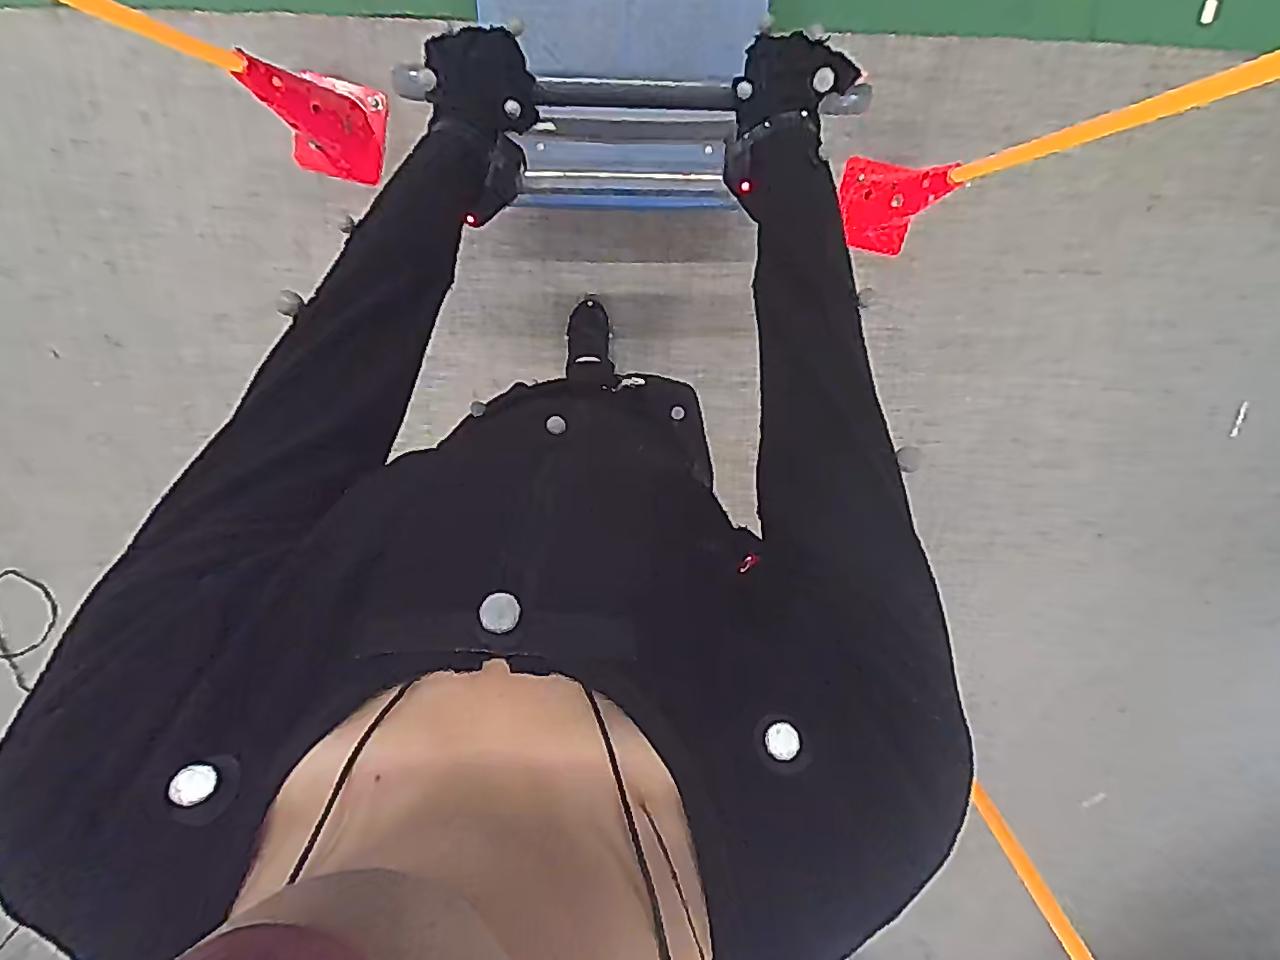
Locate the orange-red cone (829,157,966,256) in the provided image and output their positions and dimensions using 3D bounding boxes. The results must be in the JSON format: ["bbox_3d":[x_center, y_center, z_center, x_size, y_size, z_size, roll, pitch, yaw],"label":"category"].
[{"bbox_3d":[0.589,-0.623,1.178,0.198,0.360,0.199,11,107,-5],"label":"orange-red cone"}]
